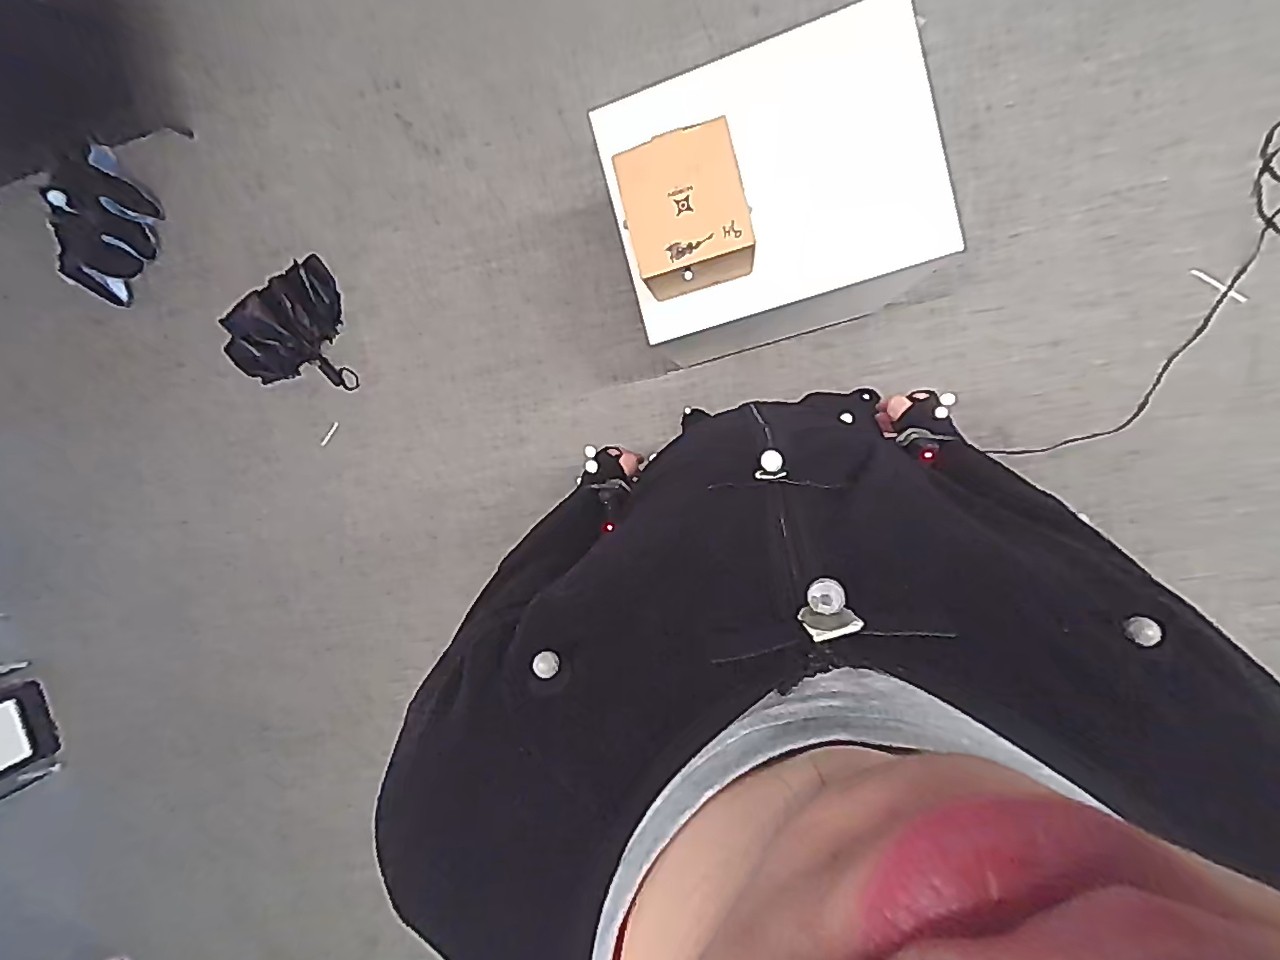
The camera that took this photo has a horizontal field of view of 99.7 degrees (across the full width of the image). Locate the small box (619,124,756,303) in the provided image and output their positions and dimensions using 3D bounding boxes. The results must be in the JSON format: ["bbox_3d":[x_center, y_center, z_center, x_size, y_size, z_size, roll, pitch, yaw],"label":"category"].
[{"bbox_3d":[0.070,-0.391,0.824,0.168,0.176,0.179,-11,95,6],"label":"small box"}]
